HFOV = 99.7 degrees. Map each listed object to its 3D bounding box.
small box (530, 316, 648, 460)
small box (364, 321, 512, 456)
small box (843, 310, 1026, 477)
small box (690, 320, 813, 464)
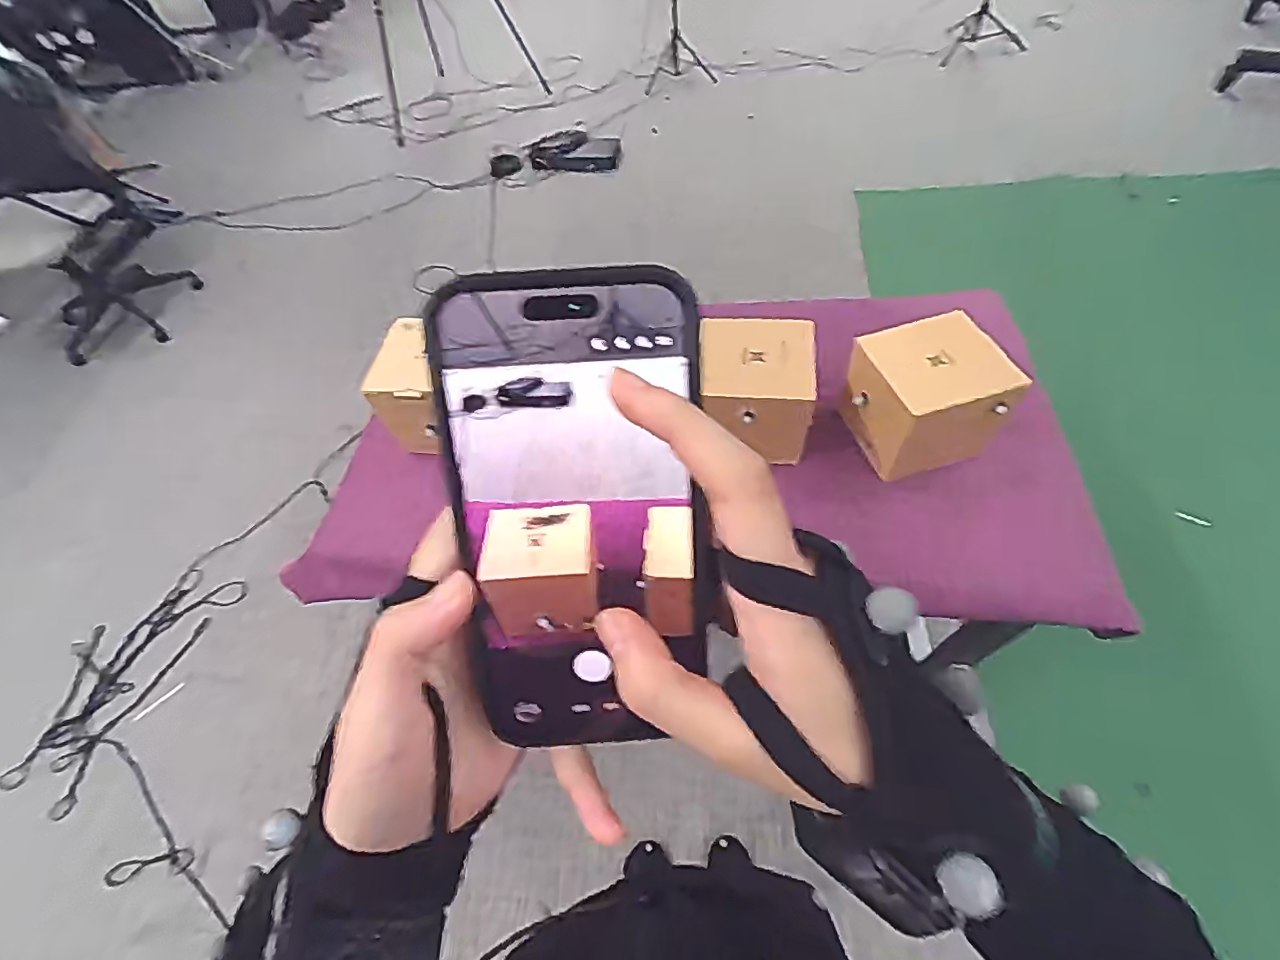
[{"bbox_3d":[-0.077,-0.153,0.922,0.168,0.176,0.179,-3,57,6],"label":"small box"},{"bbox_3d":[-0.342,-0.158,0.959,0.168,0.176,0.179,2,57,9],"label":"small box"},{"bbox_3d":[0.434,-0.128,0.839,0.179,0.176,0.168,-16,55,-4],"label":"small box"},{"bbox_3d":[0.179,-0.139,0.881,0.179,0.176,0.168,4,58,10],"label":"small box"}]
